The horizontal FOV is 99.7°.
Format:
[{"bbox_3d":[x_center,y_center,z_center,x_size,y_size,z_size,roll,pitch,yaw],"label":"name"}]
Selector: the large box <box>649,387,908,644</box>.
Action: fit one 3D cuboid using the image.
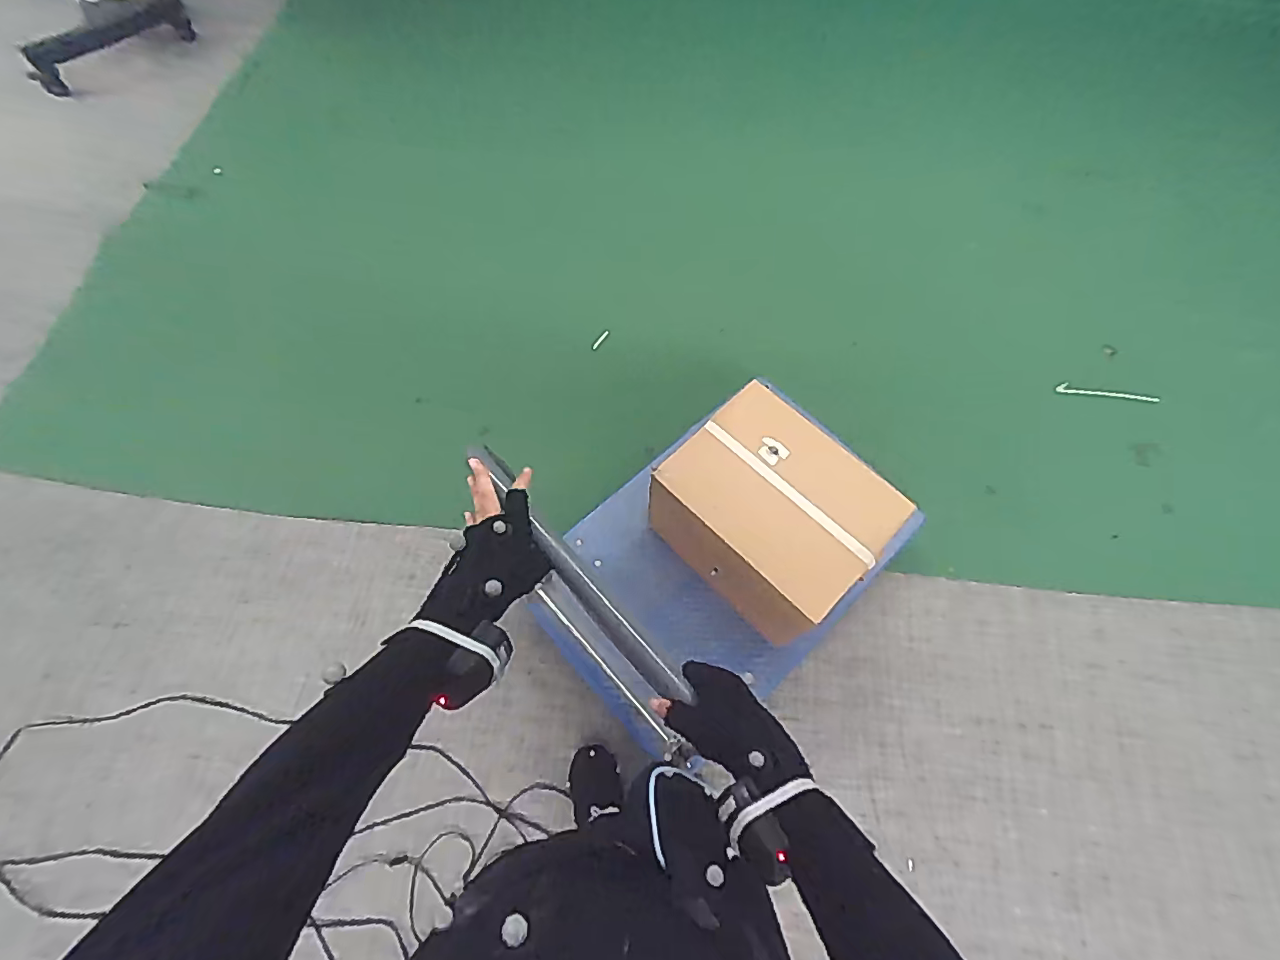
[{"bbox_3d":[0.265,0.087,1.170,0.320,0.320,0.408,-42,72,-18],"label":"large box"}]
